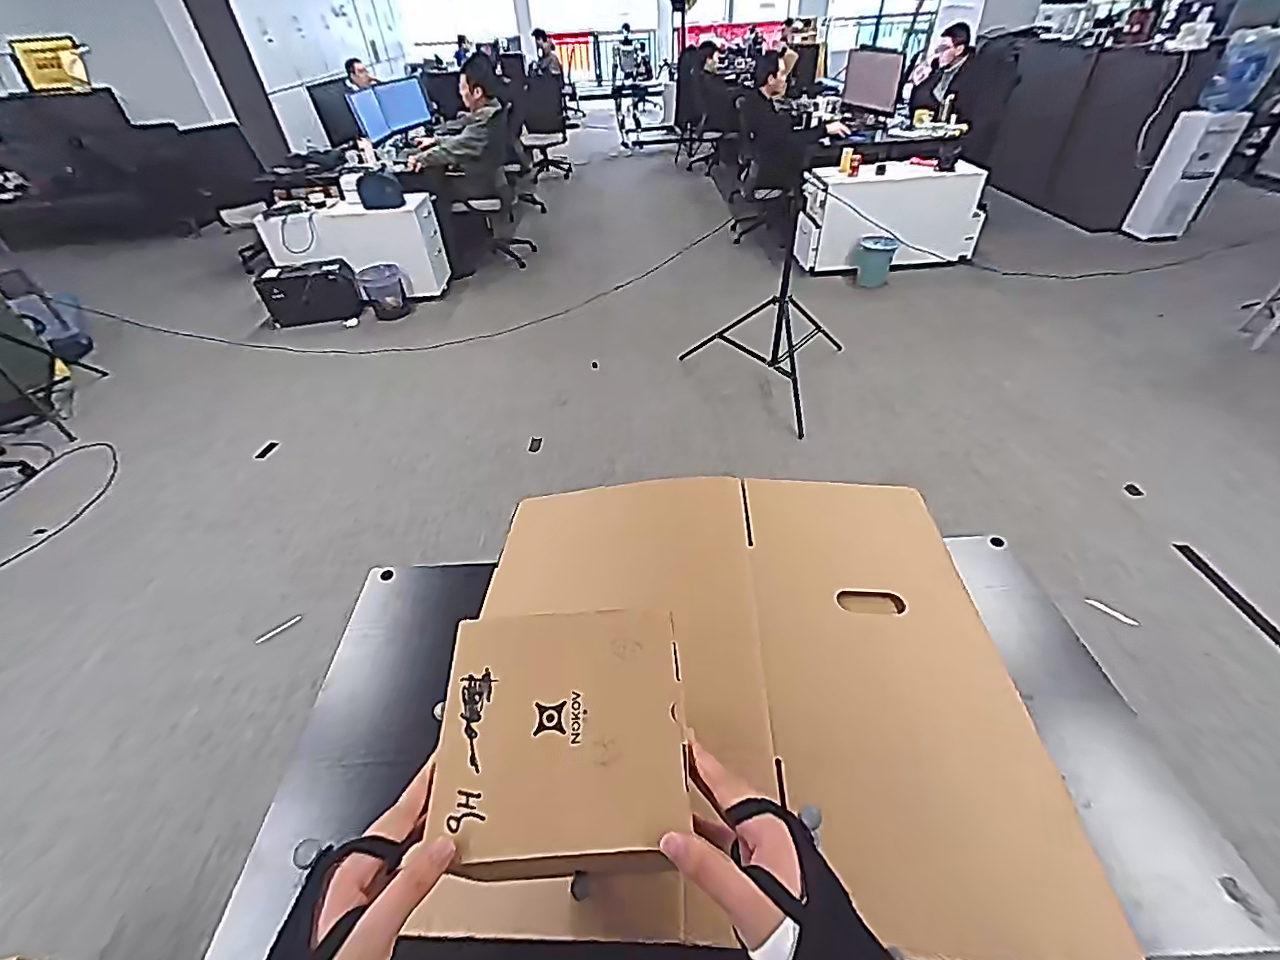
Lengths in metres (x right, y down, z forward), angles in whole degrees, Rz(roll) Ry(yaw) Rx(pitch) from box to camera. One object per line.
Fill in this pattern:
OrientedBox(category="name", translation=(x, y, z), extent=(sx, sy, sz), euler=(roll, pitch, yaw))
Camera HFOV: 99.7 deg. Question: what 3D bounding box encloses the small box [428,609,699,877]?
OrientedBox(category="small box", translation=(-0.053, 0.224, 0.457), extent=(0.179, 0.176, 0.168), euler=(-3, 49, -2))
